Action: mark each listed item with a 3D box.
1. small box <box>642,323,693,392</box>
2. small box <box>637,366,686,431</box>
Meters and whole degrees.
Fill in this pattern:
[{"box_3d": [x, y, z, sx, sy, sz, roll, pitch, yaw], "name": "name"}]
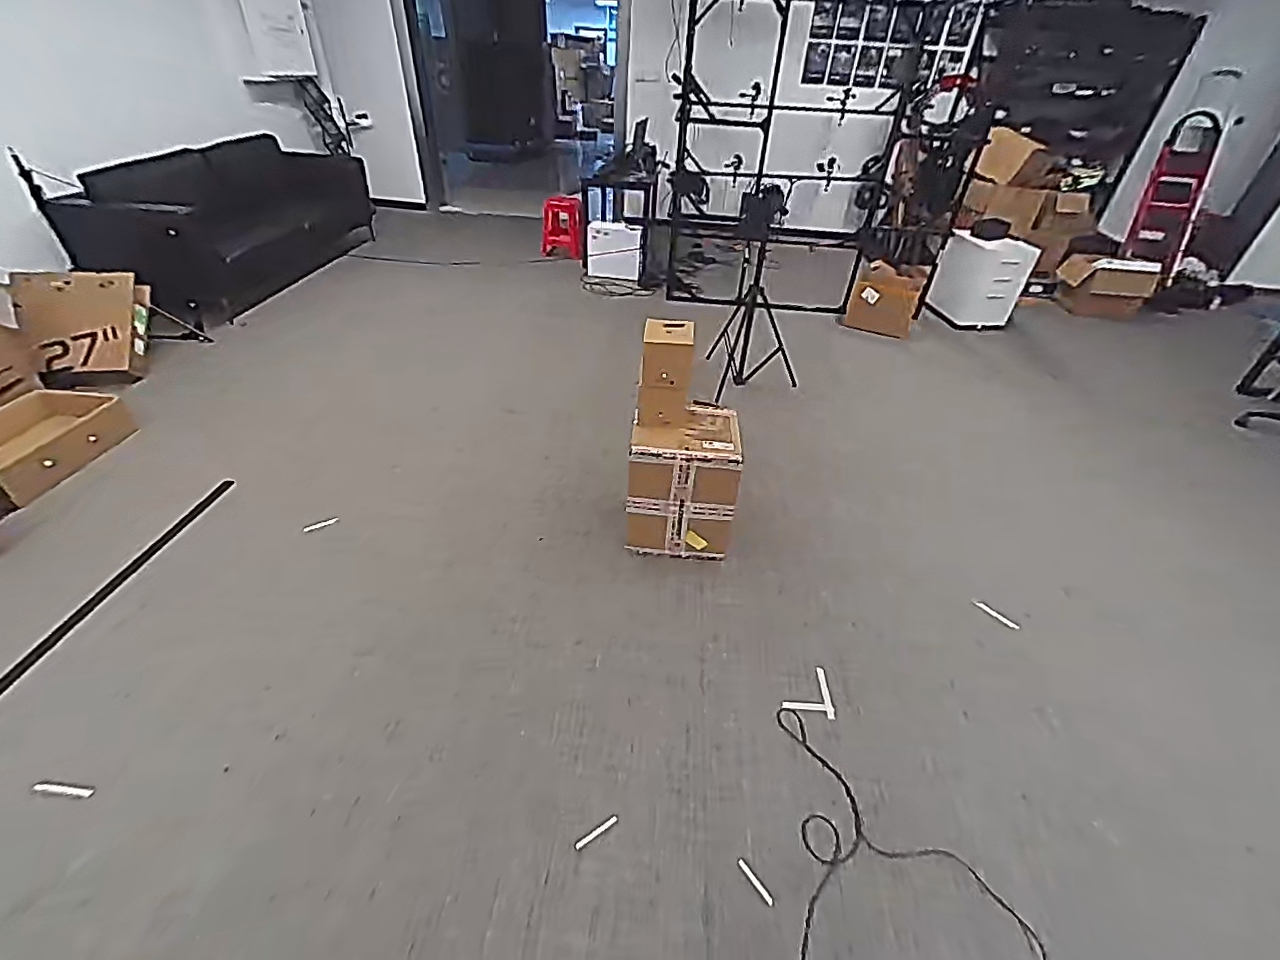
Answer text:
[{"box_3d": [0.094, -0.421, 1.859, 0.168, 0.176, 0.179, 3, 40, 3], "name": "small box"}, {"box_3d": [0.076, -0.297, 1.967, 0.168, 0.176, 0.179, 1, 40, 1], "name": "small box"}]
